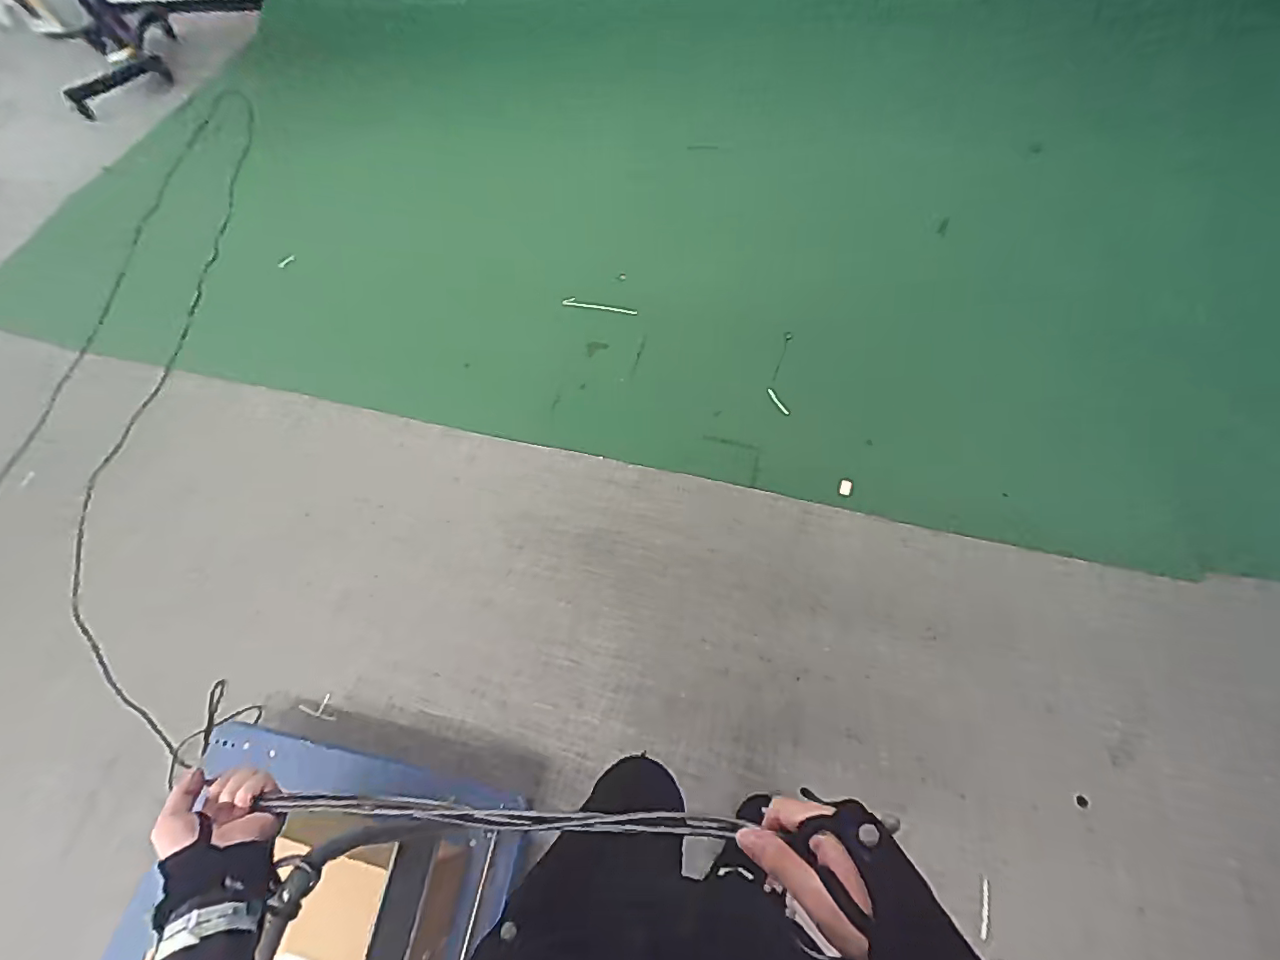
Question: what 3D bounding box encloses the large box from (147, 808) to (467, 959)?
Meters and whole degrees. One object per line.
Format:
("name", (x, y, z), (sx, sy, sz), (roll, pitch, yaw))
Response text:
("large box", (-0.613, 0.857, 1.037), (0.408, 0.320, 0.320), (6, 63, 13))
